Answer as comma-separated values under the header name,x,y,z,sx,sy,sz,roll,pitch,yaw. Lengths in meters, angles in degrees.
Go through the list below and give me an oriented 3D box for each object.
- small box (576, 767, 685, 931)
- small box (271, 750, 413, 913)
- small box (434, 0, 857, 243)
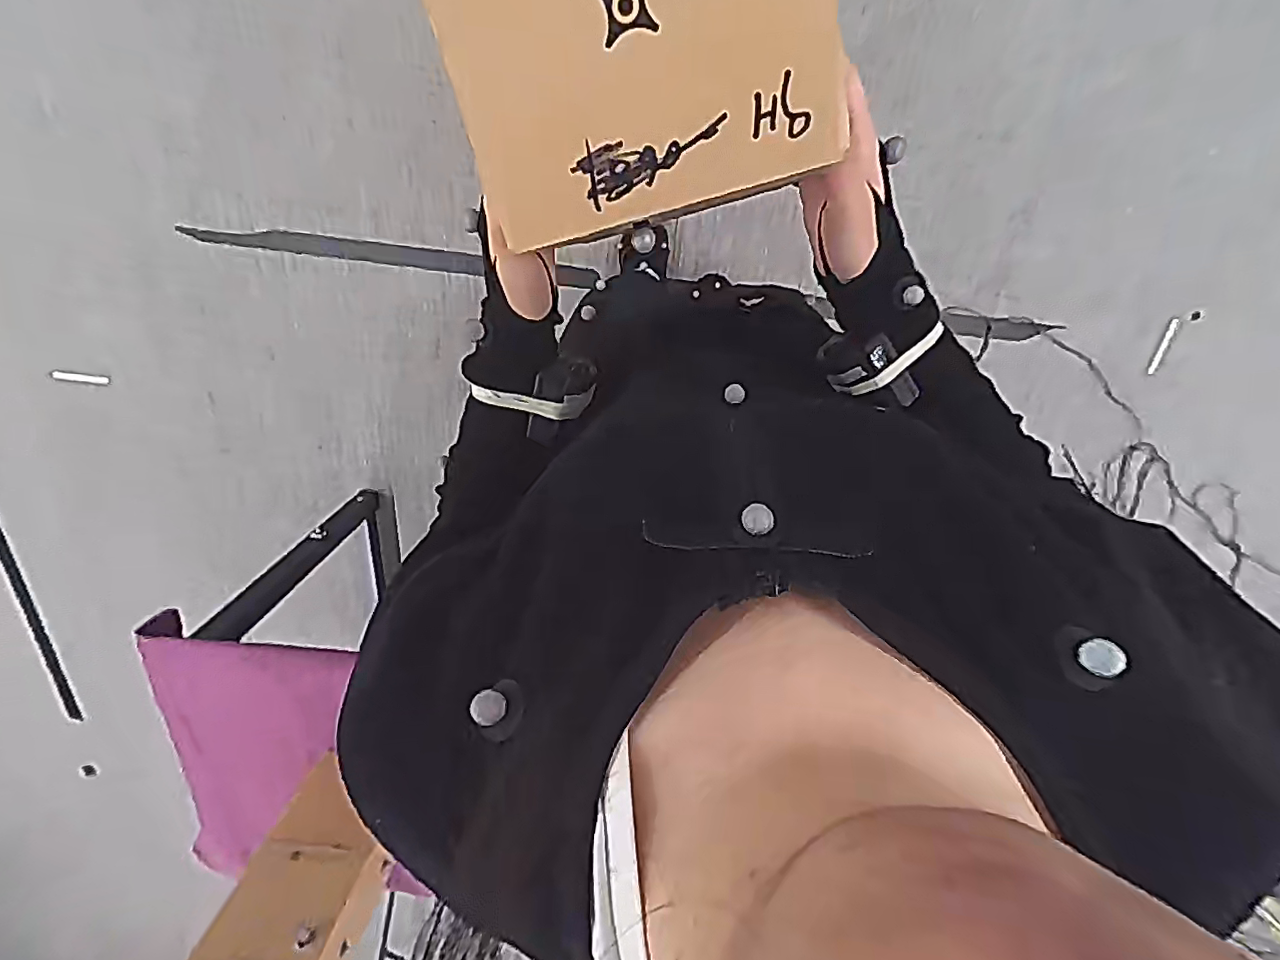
name,x,y,z,sx,sy,sz,roll,pitch,yaw
small box,-0.015,0.654,0.968,0.168,0.176,0.179,7,113,-1
small box,-0.522,0.626,0.971,0.168,0.176,0.179,11,113,-4
small box,0.004,-0.237,0.286,0.168,0.176,0.179,-10,114,12
